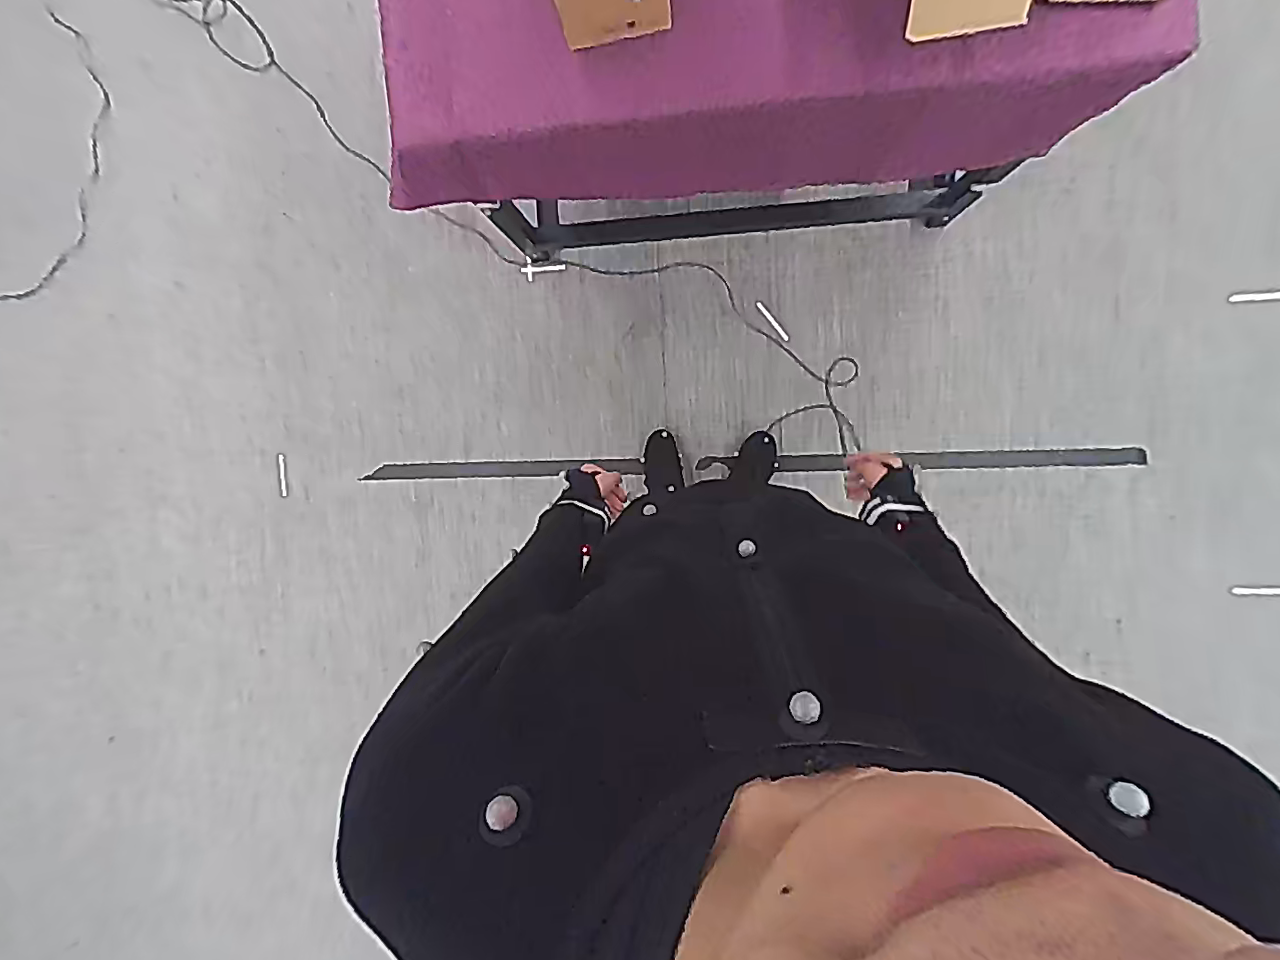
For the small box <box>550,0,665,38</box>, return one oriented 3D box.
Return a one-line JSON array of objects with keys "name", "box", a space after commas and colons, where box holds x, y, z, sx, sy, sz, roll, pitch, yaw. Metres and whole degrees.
[{"name": "small box", "box": [-0.056, -0.773, 0.765, 0.168, 0.176, 0.179, -7, 94, 6]}]
